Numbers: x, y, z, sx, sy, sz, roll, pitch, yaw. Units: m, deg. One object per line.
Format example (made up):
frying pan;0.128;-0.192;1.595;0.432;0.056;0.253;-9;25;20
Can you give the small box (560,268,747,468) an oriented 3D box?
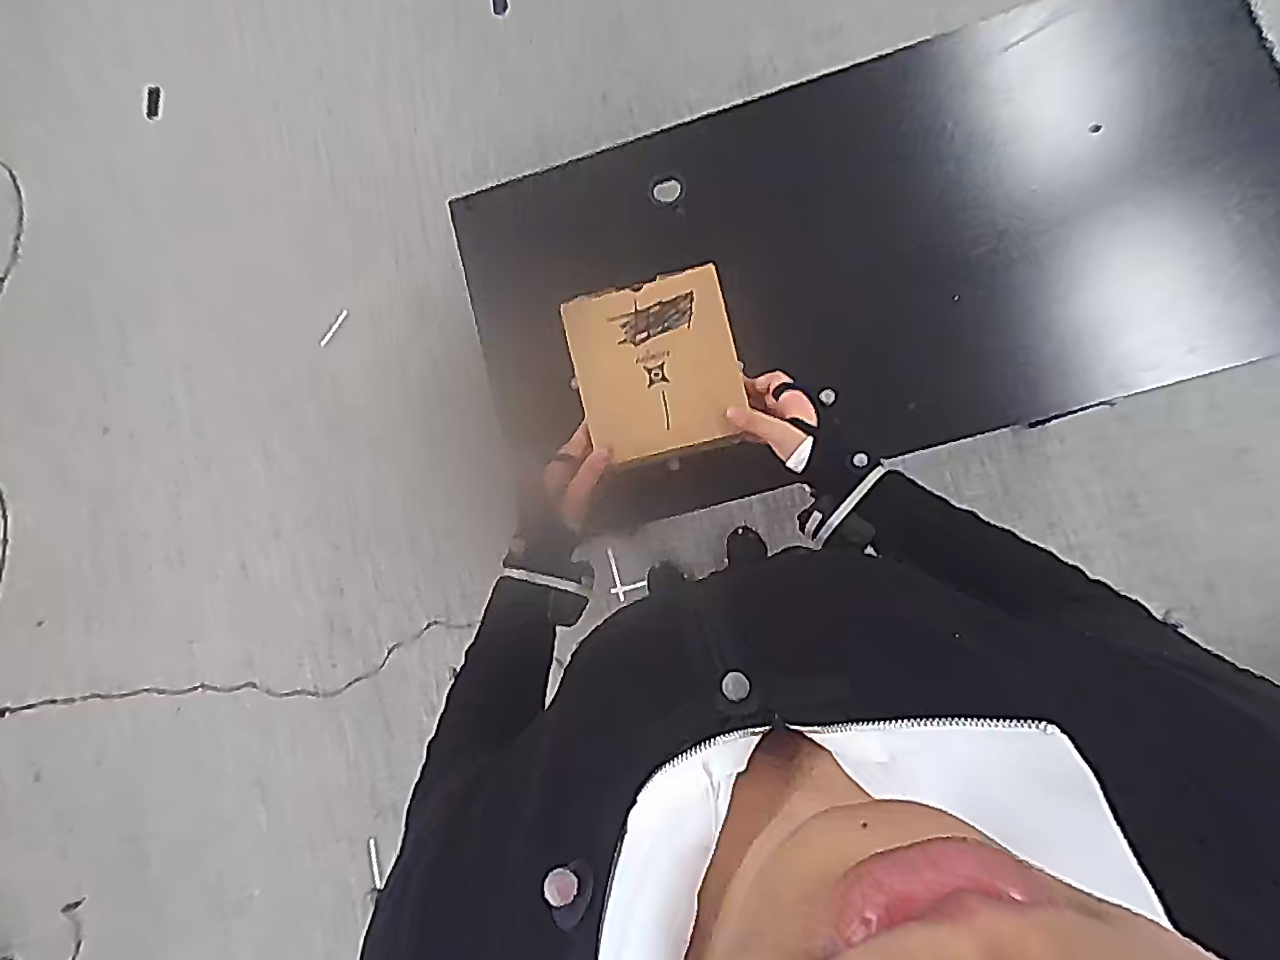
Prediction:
small box;0.018;-0.116;0.638;0.168;0.176;0.179;-14;89;4
